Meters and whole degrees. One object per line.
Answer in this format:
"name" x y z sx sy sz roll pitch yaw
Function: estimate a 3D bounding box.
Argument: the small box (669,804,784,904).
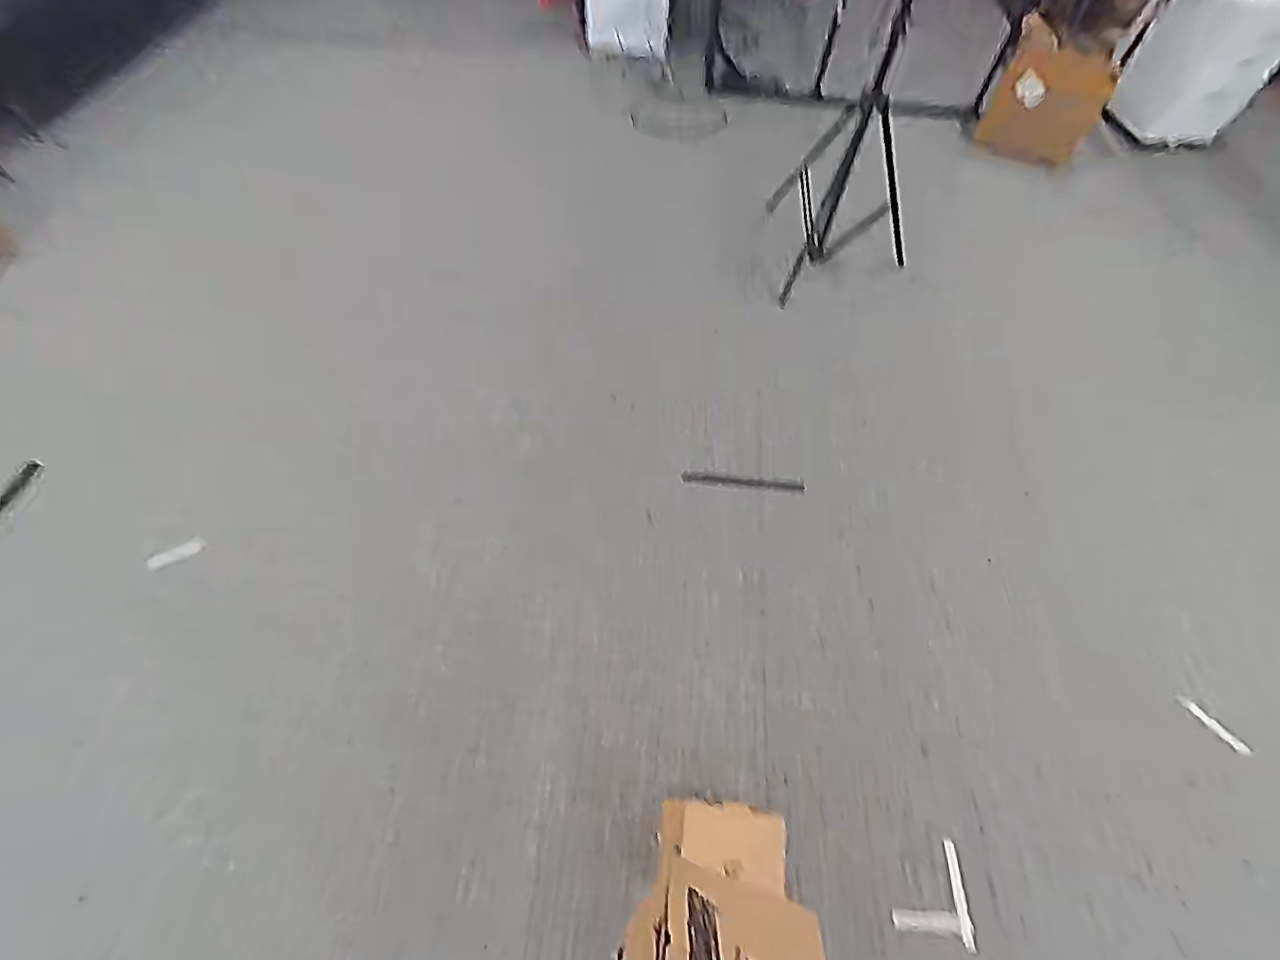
"small box" 0.135 0.661 0.898 0.168 0.176 0.179 10 56 3

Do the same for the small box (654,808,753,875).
"small box" 0.121 0.737 1.043 0.179 0.176 0.168 4 56 0

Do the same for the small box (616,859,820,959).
"small box" 0.066 0.530 0.528 0.179 0.176 0.168 23 21 -1
